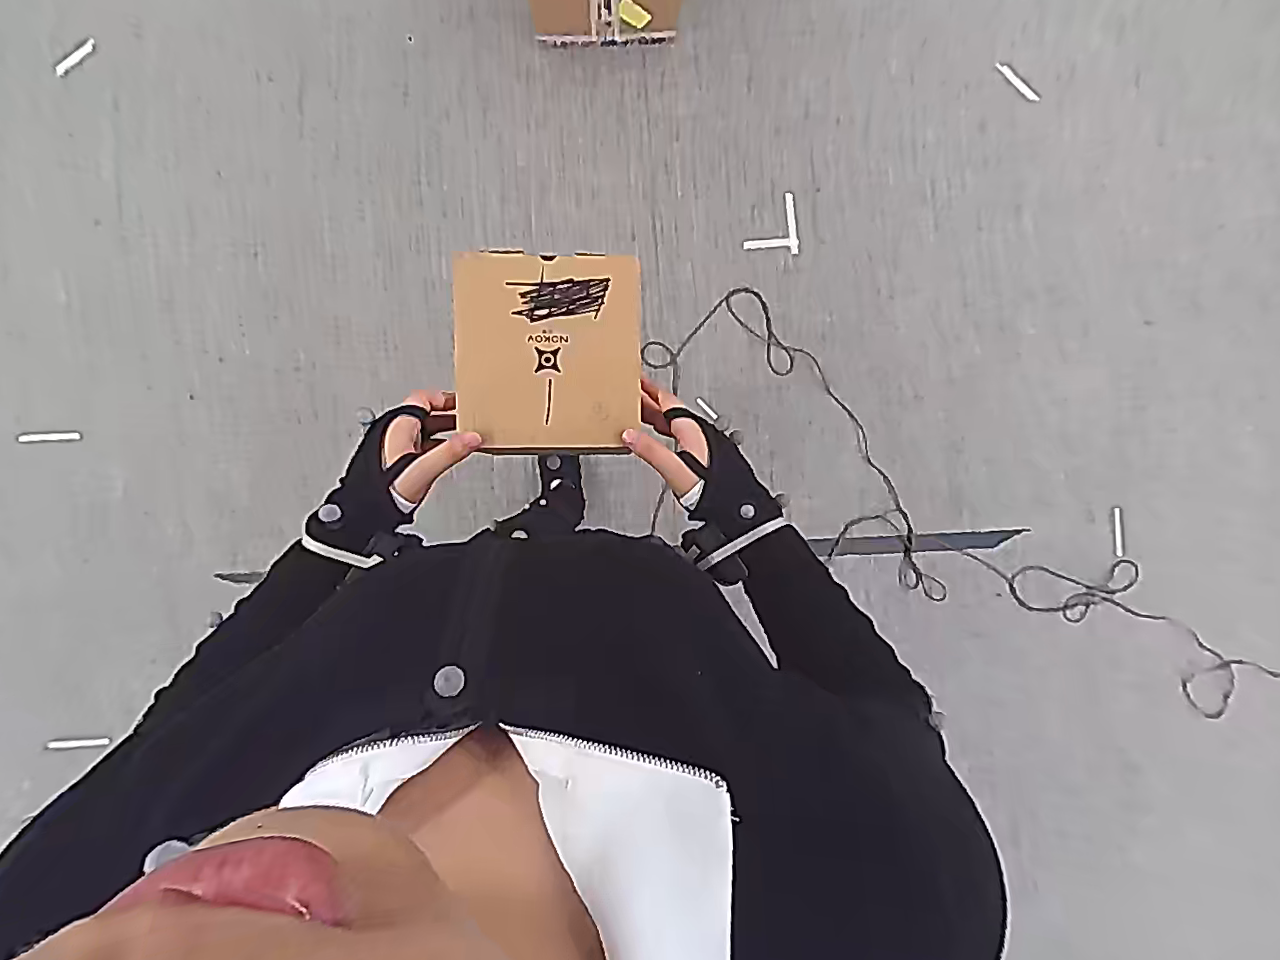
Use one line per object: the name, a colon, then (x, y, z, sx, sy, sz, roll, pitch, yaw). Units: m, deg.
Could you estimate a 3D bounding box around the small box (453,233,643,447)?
small box: (-0.087, -0.127, 0.554, 0.168, 0.176, 0.179, 0, 91, -5)
